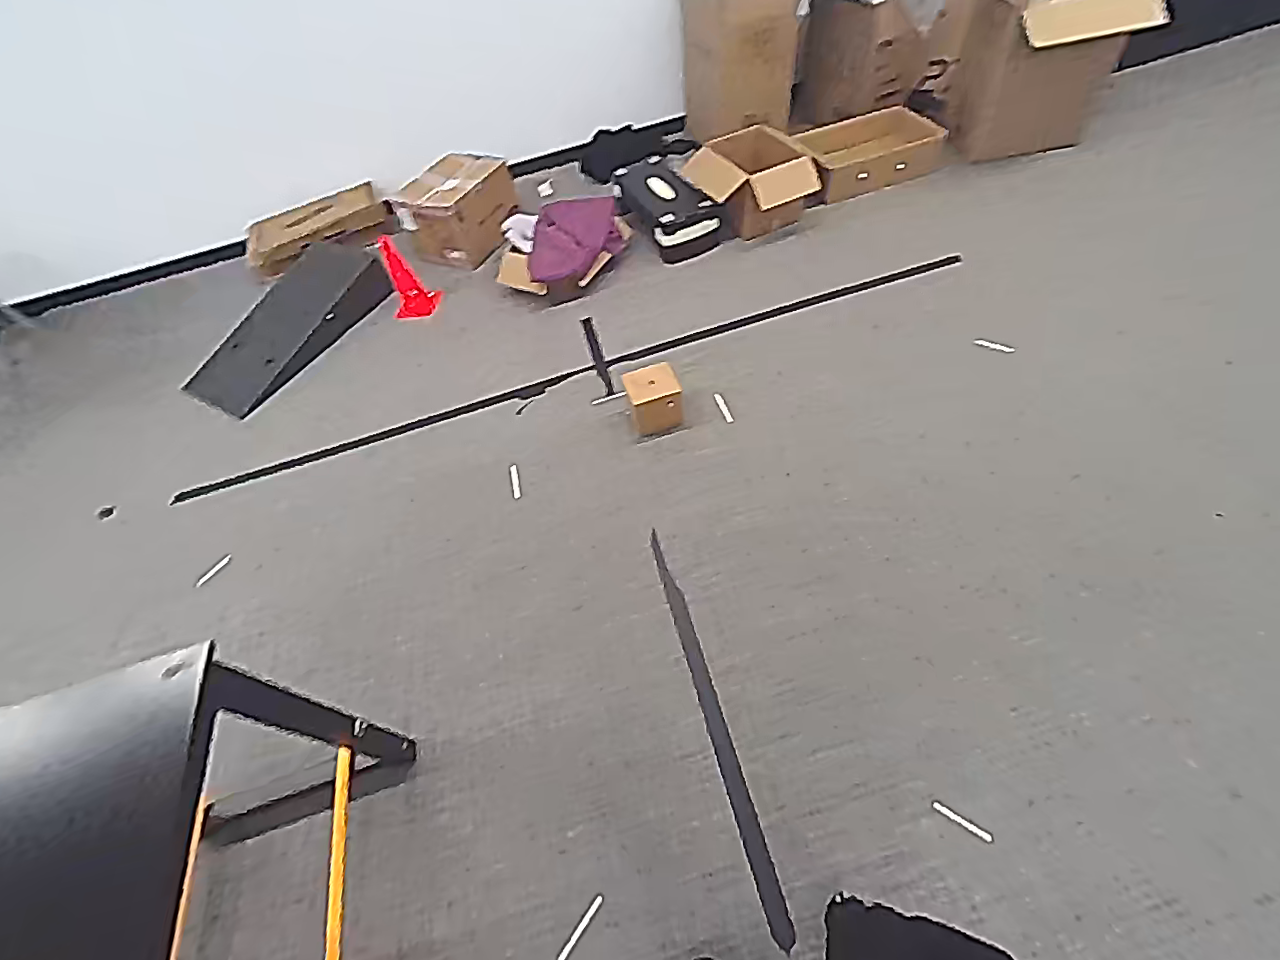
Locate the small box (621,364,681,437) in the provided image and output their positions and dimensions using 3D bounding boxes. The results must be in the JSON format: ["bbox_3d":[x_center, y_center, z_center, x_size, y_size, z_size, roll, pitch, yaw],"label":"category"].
[{"bbox_3d":[0.045,-0.286,1.955,0.179,0.176,0.168,-18,53,-4],"label":"small box"}]
